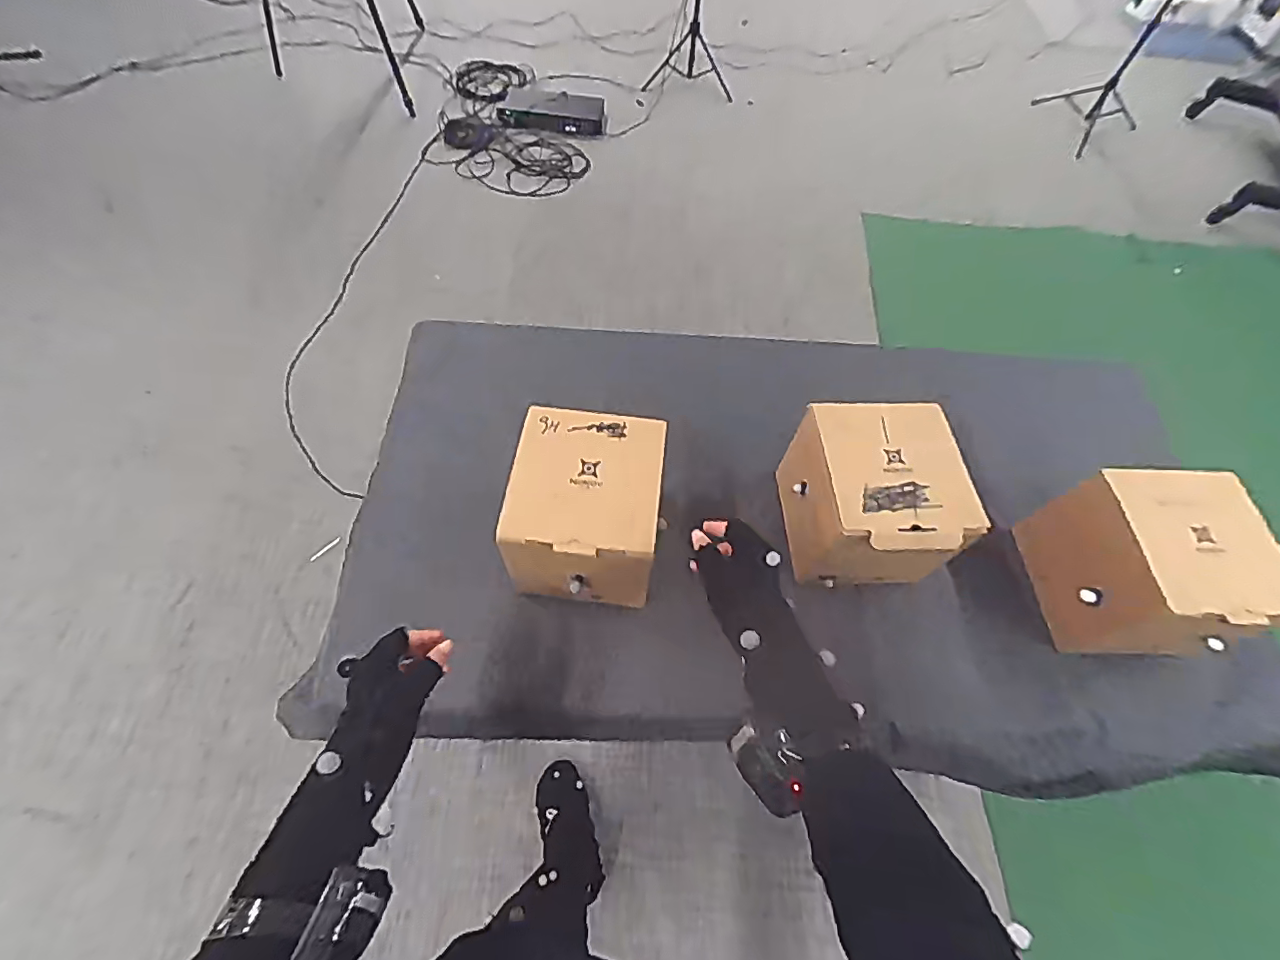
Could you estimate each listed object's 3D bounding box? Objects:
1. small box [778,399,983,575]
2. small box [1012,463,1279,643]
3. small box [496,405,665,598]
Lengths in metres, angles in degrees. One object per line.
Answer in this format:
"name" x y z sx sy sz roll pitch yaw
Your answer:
"small box" 0.288 0.016 0.693 0.168 0.176 0.179 -1 59 -3
"small box" 0.610 0.096 0.664 0.168 0.176 0.179 1 59 -3
"small box" -0.063 0.034 0.666 0.168 0.176 0.179 6 60 0
